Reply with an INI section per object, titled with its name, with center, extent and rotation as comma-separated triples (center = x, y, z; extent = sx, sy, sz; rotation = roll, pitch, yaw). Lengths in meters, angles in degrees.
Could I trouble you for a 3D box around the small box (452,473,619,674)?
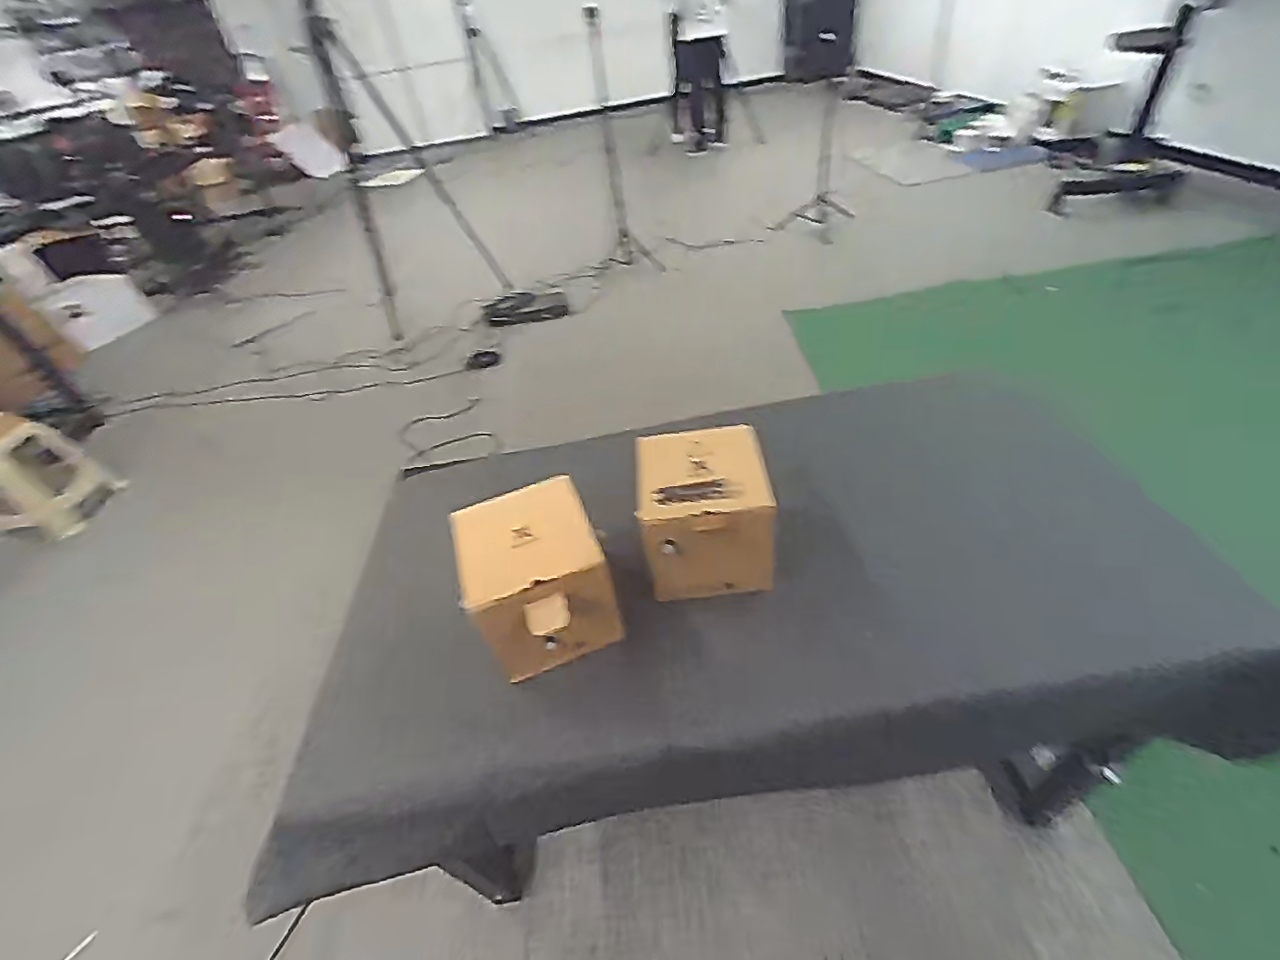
[small box]
center = -0.140, 0.125, 0.734
extent = 0.168, 0.176, 0.179
rotation = -20, 43, -11
